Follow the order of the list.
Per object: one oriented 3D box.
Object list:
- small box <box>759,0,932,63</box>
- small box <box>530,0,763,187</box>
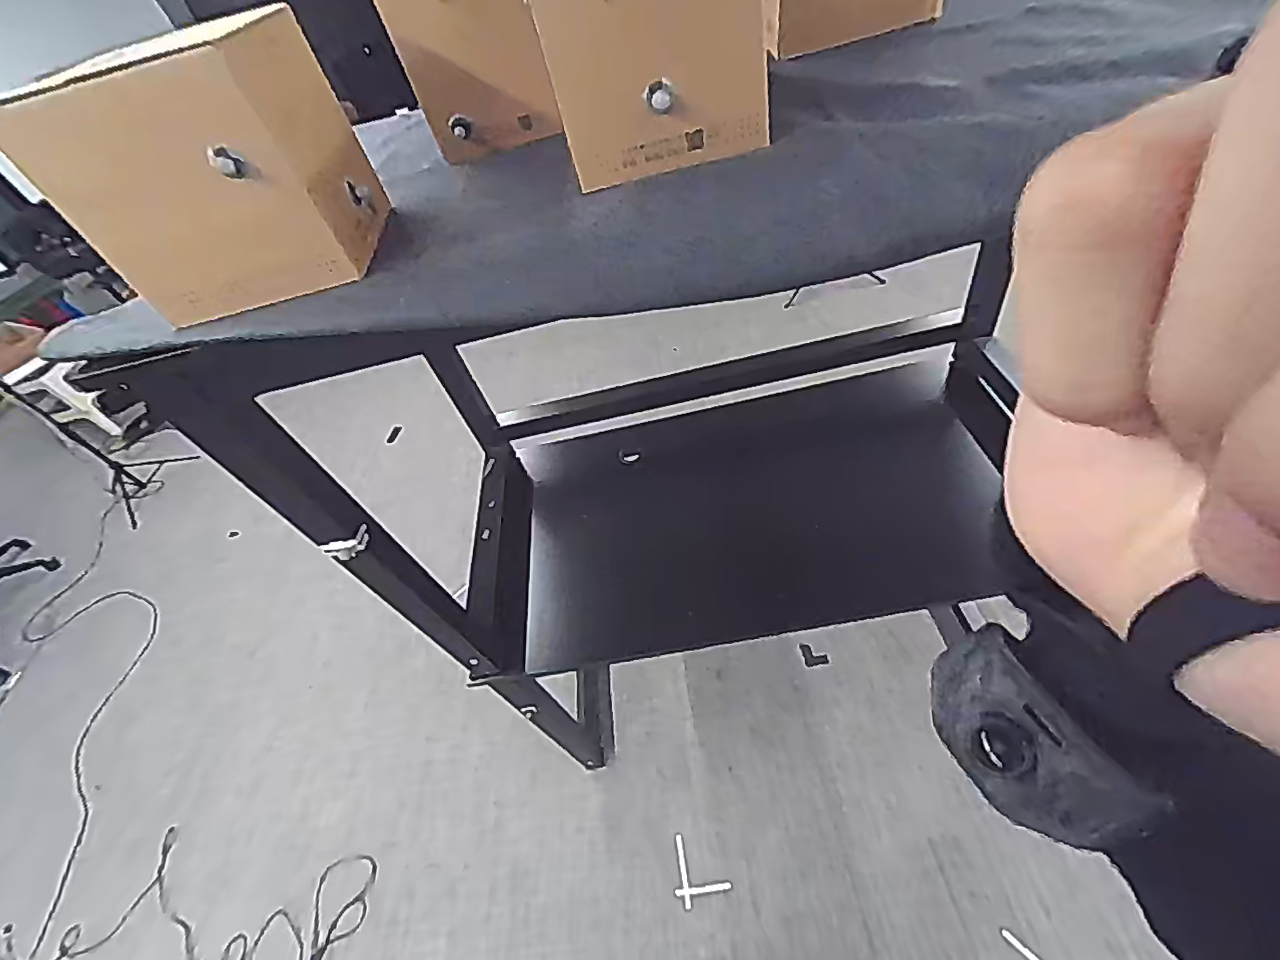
[{"bbox_3d":[0.222,-0.595,0.590,0.179,0.176,0.168,-10,48,9],"label":"small box"},{"bbox_3d":[0.007,-0.380,0.463,0.168,0.176,0.179,-10,47,8],"label":"small box"}]
